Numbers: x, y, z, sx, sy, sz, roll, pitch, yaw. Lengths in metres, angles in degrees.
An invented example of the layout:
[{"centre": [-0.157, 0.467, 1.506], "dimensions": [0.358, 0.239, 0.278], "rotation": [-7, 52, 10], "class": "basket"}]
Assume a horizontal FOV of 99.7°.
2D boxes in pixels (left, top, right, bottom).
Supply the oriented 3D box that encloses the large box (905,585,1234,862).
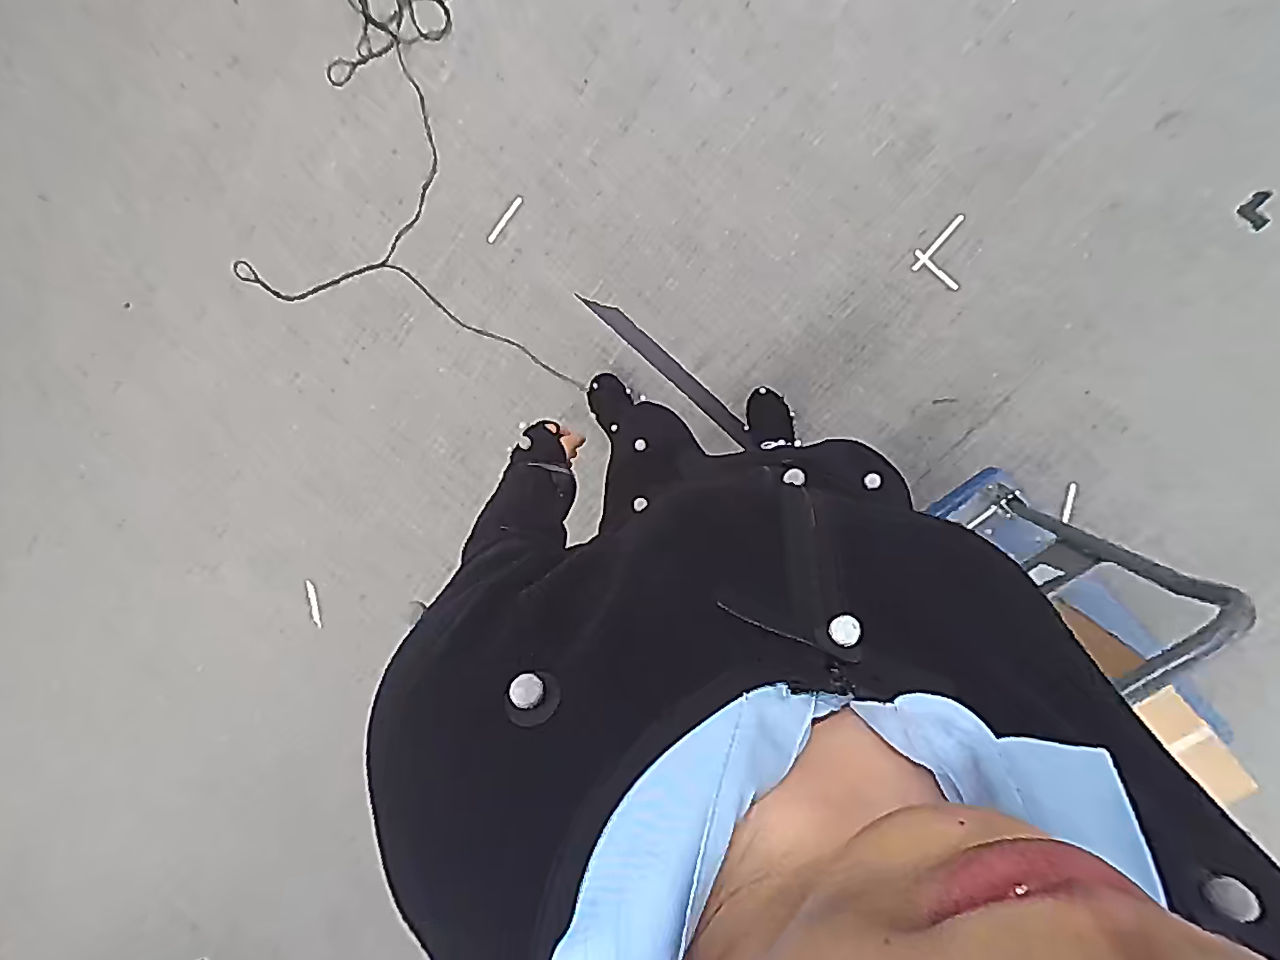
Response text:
[{"centre": [0.887, 0.510, 1.189], "dimensions": [0.408, 0.320, 0.320], "rotation": [-42, 94, 13], "class": "large box"}]
